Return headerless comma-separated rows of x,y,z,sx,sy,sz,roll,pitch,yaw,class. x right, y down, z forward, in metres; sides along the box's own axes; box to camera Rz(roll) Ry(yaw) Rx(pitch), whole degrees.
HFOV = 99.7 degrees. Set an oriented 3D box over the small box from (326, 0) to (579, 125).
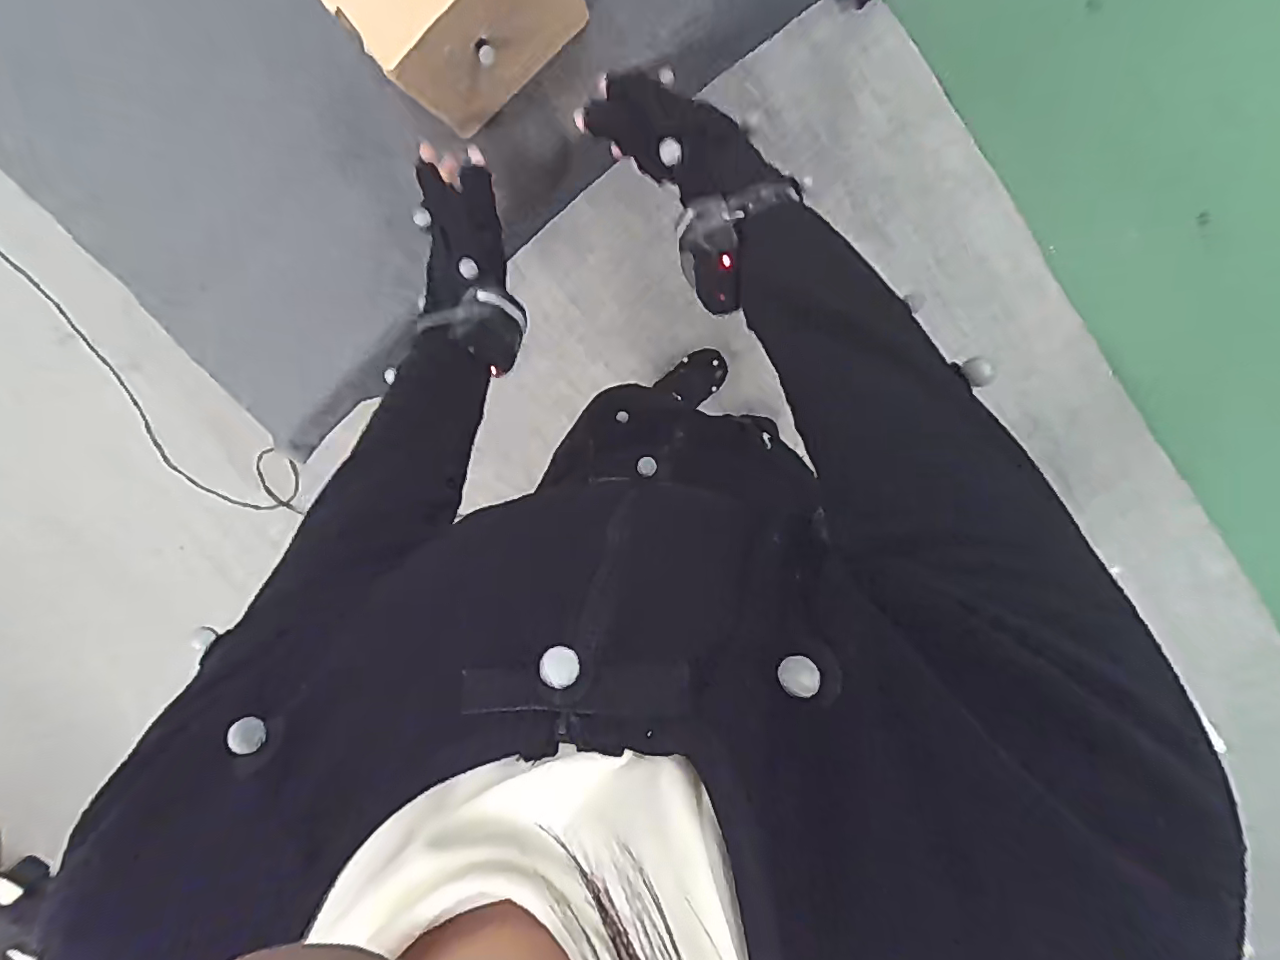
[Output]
-0.176,-0.459,0.471,0.179,0.176,0.168,-35,100,16,small box
